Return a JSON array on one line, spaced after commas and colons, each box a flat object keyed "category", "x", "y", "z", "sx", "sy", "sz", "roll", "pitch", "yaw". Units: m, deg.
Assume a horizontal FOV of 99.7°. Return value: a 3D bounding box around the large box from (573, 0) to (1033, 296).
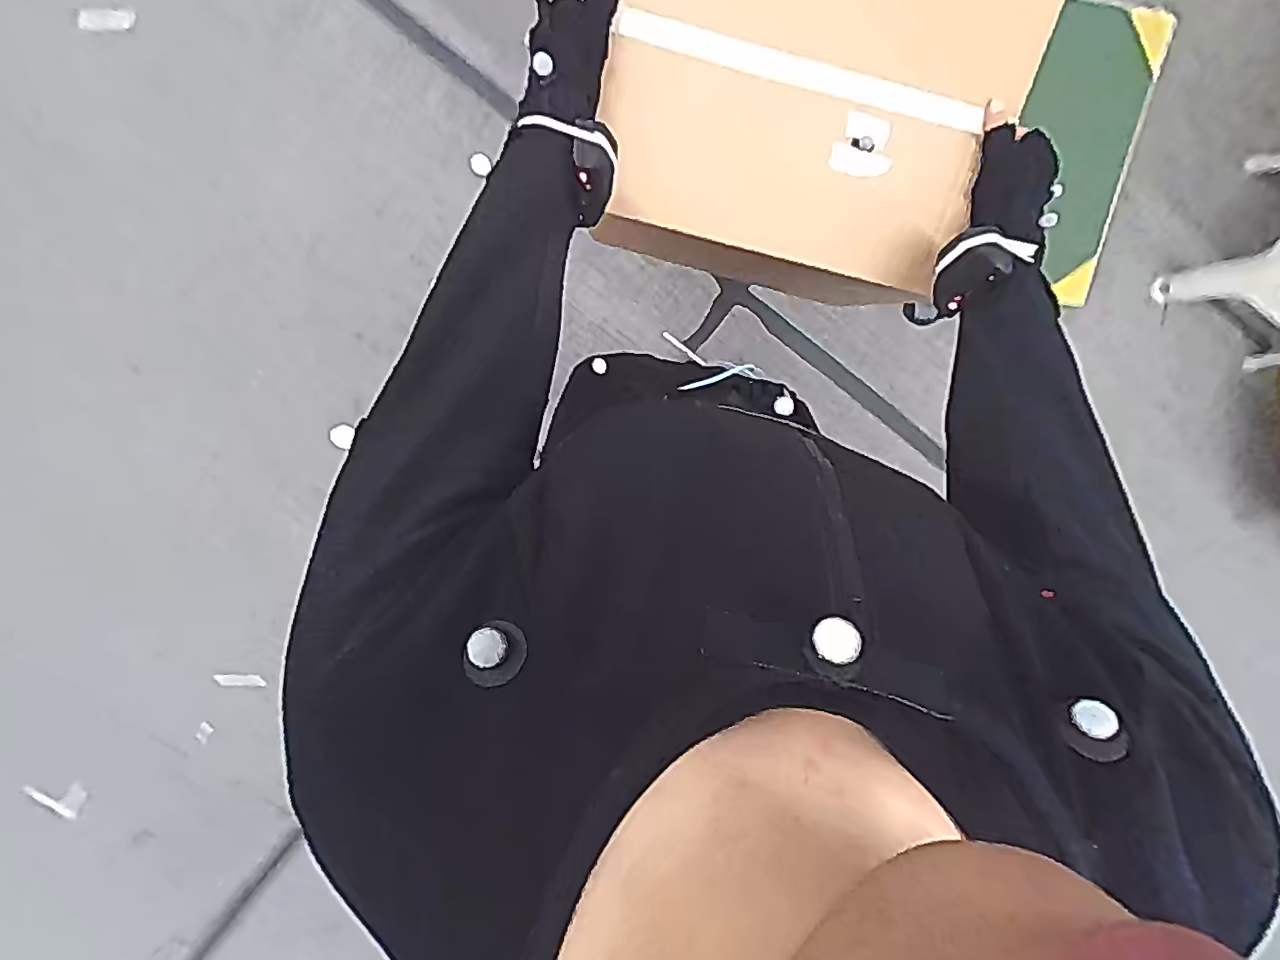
[{"category": "large box", "x": 0.148, "y": -0.427, "z": 0.665, "sx": 0.408, "sy": 0.320, "sz": 0.320, "roll": 11, "pitch": 108, "yaw": -5}]
